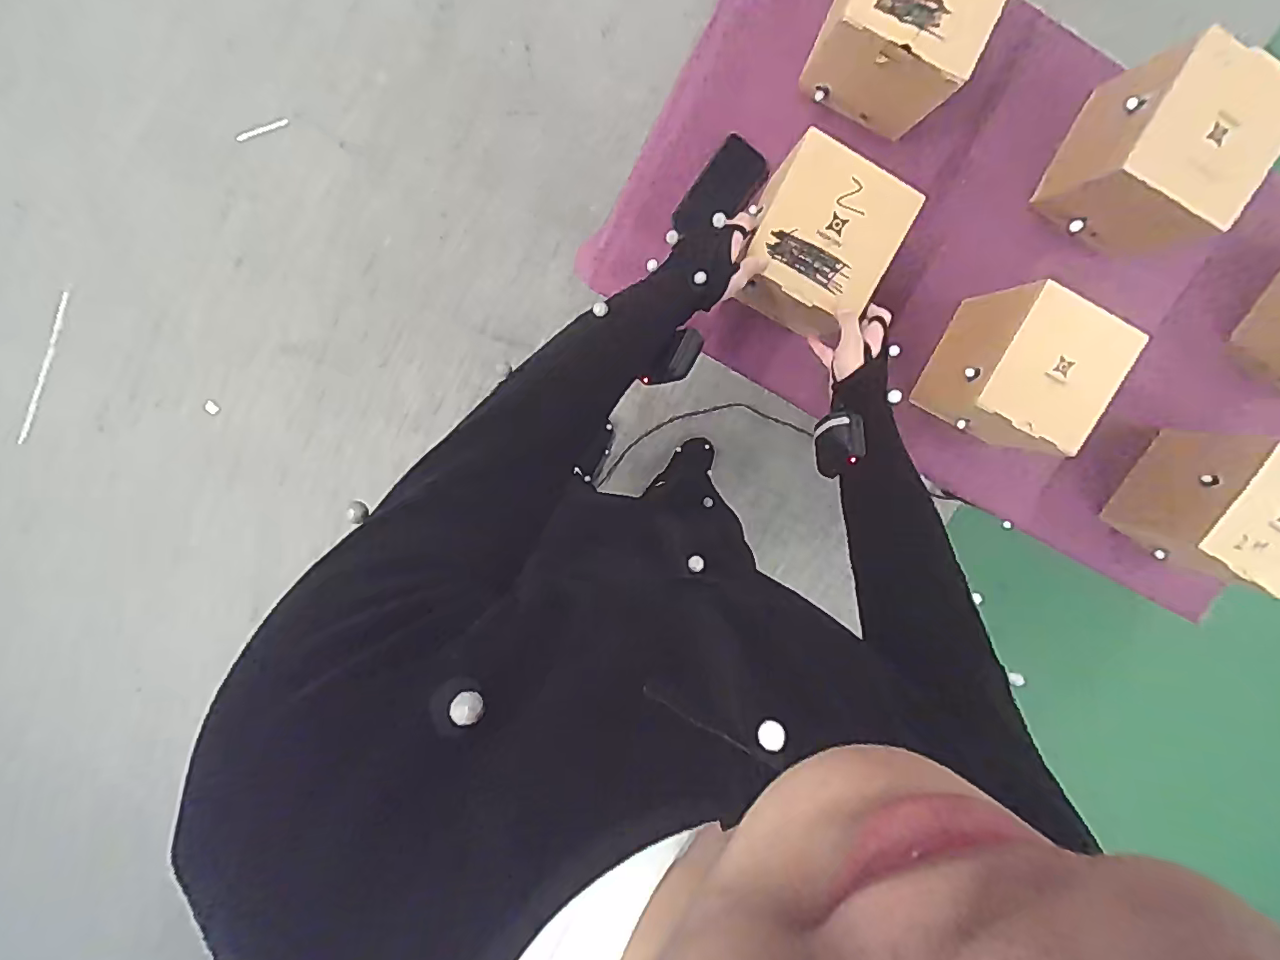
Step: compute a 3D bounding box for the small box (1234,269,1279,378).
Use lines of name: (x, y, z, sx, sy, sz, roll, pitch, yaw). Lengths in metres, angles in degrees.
small box: (1.038, -0.244, 0.770, 0.168, 0.176, 0.179, 30, 99, -7)

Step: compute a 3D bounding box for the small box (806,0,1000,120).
small box: (0.328, -0.593, 0.667, 0.168, 0.176, 0.179, 23, 100, -7)

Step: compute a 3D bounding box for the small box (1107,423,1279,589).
small box: (0.882, 0.028, 0.820, 0.168, 0.176, 0.179, 29, 100, -6)

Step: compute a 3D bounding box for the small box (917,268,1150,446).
small box: (0.537, -0.170, 0.768, 0.168, 0.176, 0.179, 25, 100, -8)

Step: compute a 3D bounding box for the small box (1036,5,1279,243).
small box: (0.685, -0.446, 0.714, 0.168, 0.176, 0.179, 26, 101, -6)
